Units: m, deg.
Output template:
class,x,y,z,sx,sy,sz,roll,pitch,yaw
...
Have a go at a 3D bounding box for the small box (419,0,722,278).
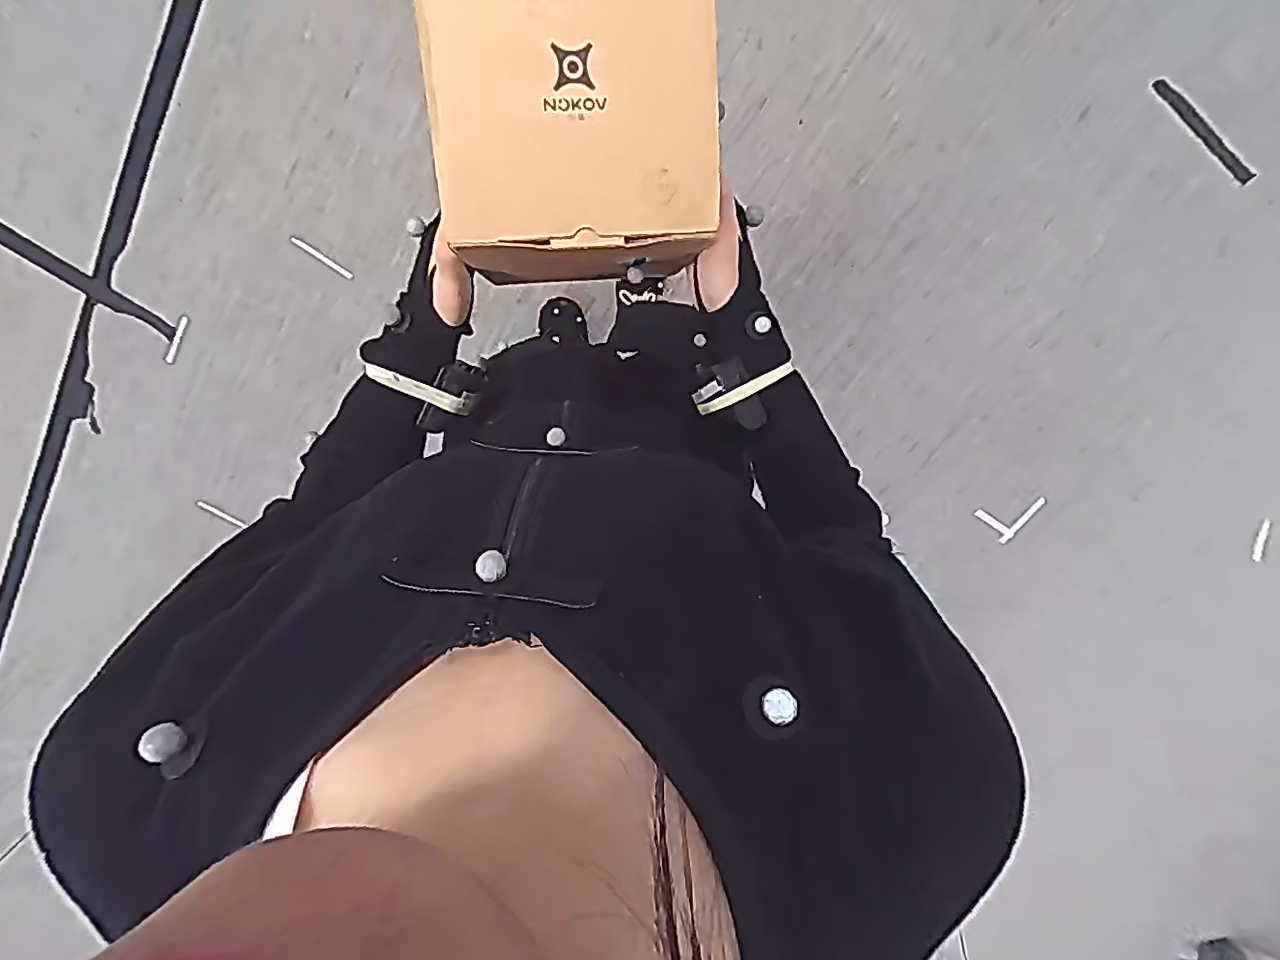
class,x,y,z,sx,sy,sz,roll,pitch,yaw
small box,-0.043,-0.243,0.378,0.168,0.176,0.179,-5,102,-6
